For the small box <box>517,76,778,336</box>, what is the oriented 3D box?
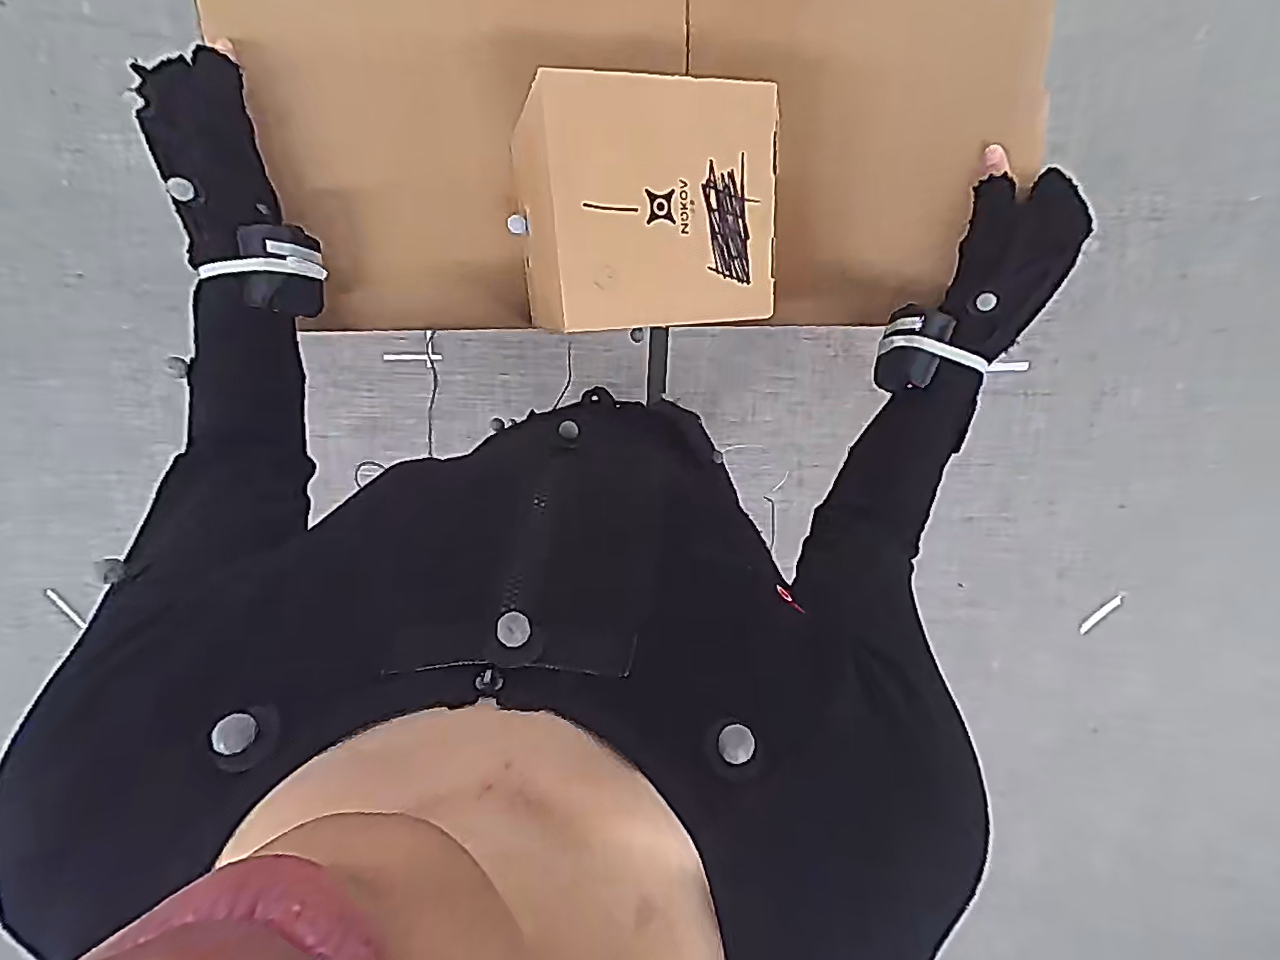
[{"bbox_3d":[-0.002,-0.219,0.470,0.179,0.176,0.168,-9,109,-16],"label":"small box"}]
